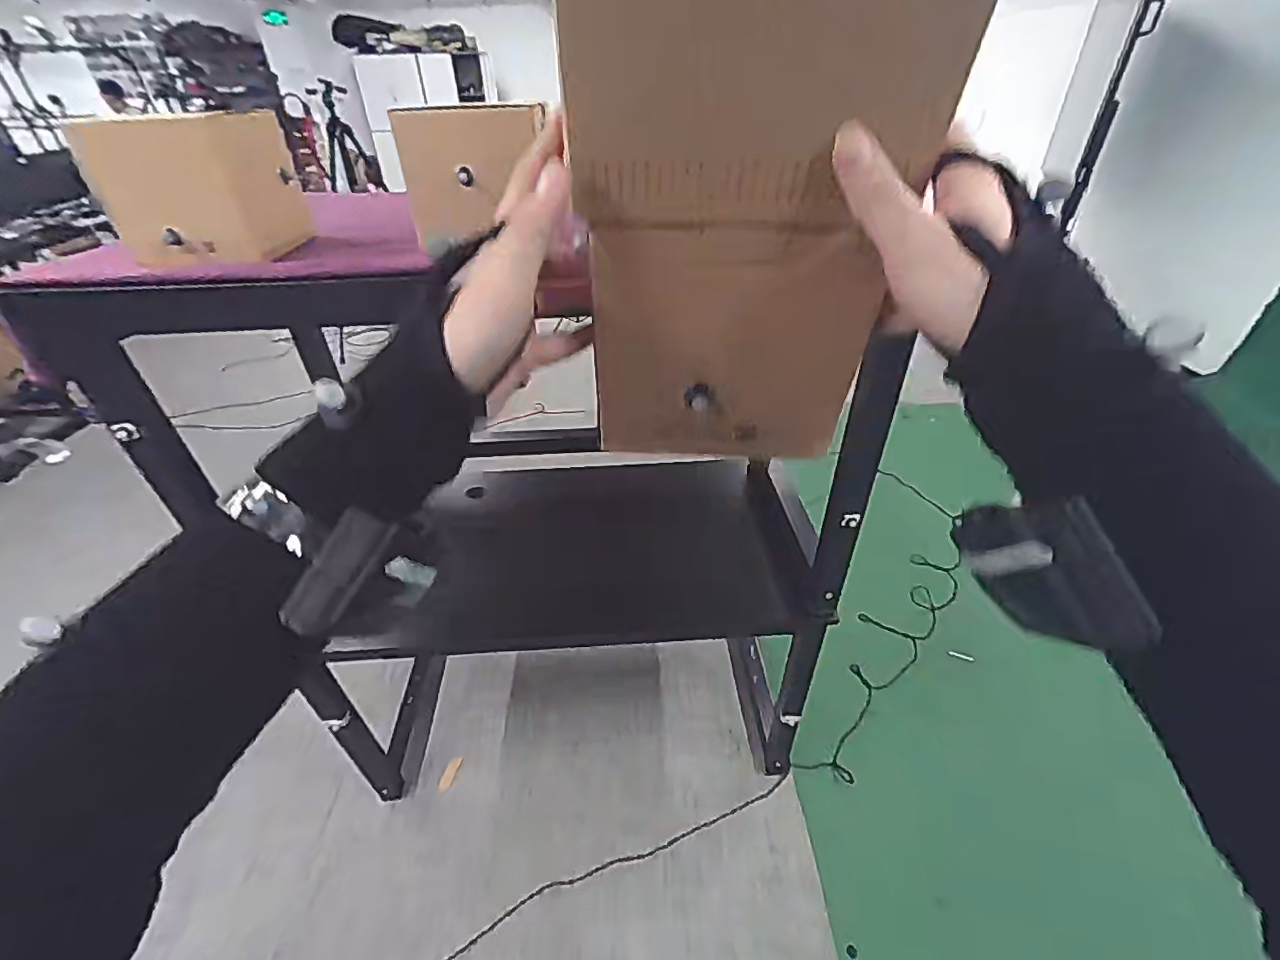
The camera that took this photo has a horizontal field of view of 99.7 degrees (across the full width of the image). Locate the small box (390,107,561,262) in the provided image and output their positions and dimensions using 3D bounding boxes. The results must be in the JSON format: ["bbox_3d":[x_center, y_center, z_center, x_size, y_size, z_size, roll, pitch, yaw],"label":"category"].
[{"bbox_3d":[-0.211,-0.413,0.755,0.179,0.176,0.168,-3,36,1],"label":"small box"}]

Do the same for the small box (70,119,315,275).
[{"bbox_3d":[-0.578,-0.387,0.737,0.168,0.176,0.179,-4,36,-2],"label":"small box"}]

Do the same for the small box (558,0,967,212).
[{"bbox_3d":[0.053,-0.250,0.269,0.179,0.176,0.168,2,49,1],"label":"small box"}]

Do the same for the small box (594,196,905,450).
[{"bbox_3d":[0.058,-0.144,0.395,0.168,0.176,0.179,2,48,1],"label":"small box"}]
